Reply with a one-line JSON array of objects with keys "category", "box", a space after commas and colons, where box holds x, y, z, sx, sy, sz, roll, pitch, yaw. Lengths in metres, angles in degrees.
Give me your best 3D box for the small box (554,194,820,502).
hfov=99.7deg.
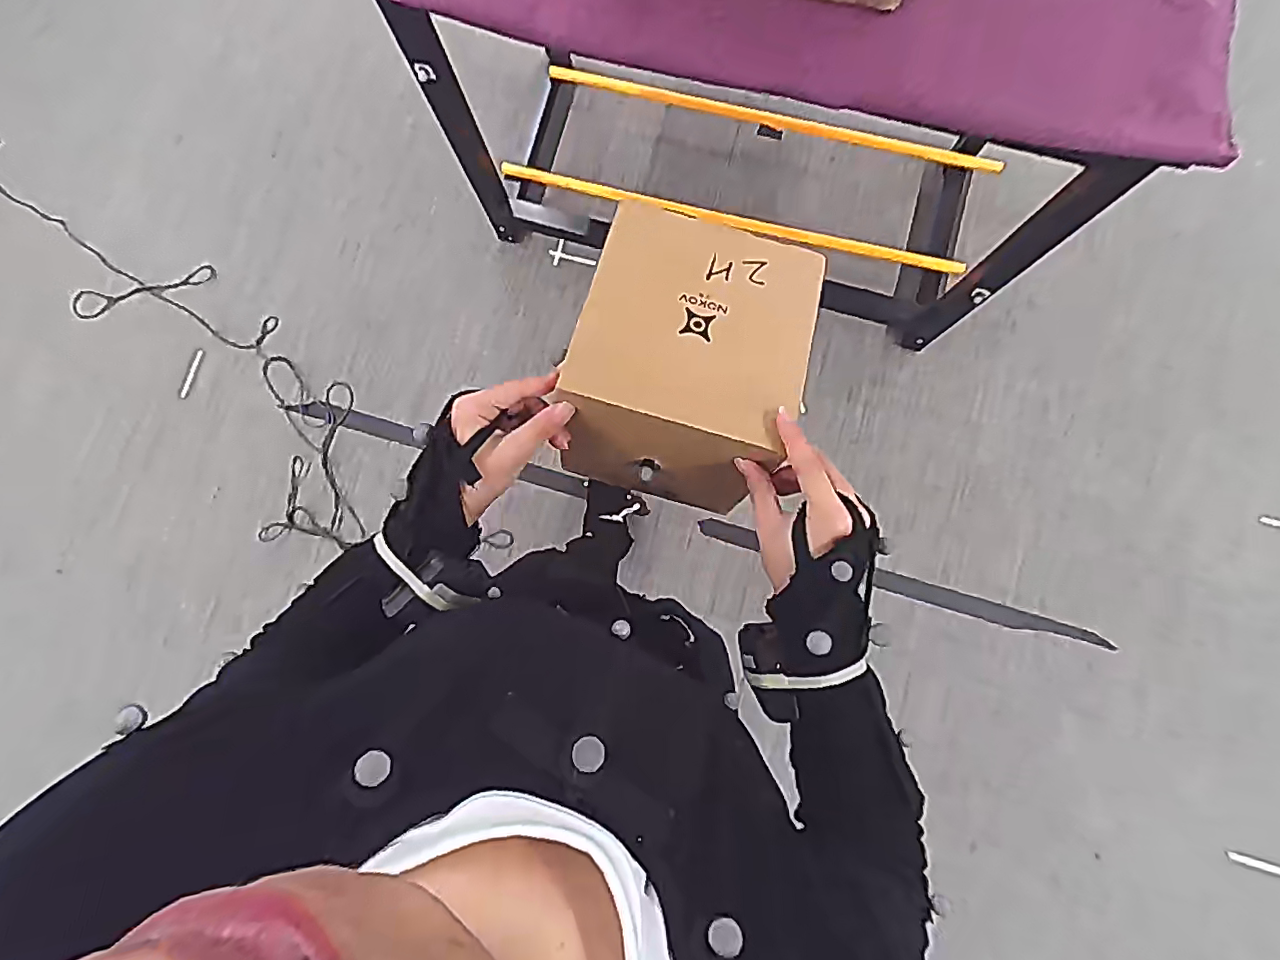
[{"category": "small box", "box": [0.033, -0.096, 0.466, 0.168, 0.176, 0.179, 15, 70, -2]}]
